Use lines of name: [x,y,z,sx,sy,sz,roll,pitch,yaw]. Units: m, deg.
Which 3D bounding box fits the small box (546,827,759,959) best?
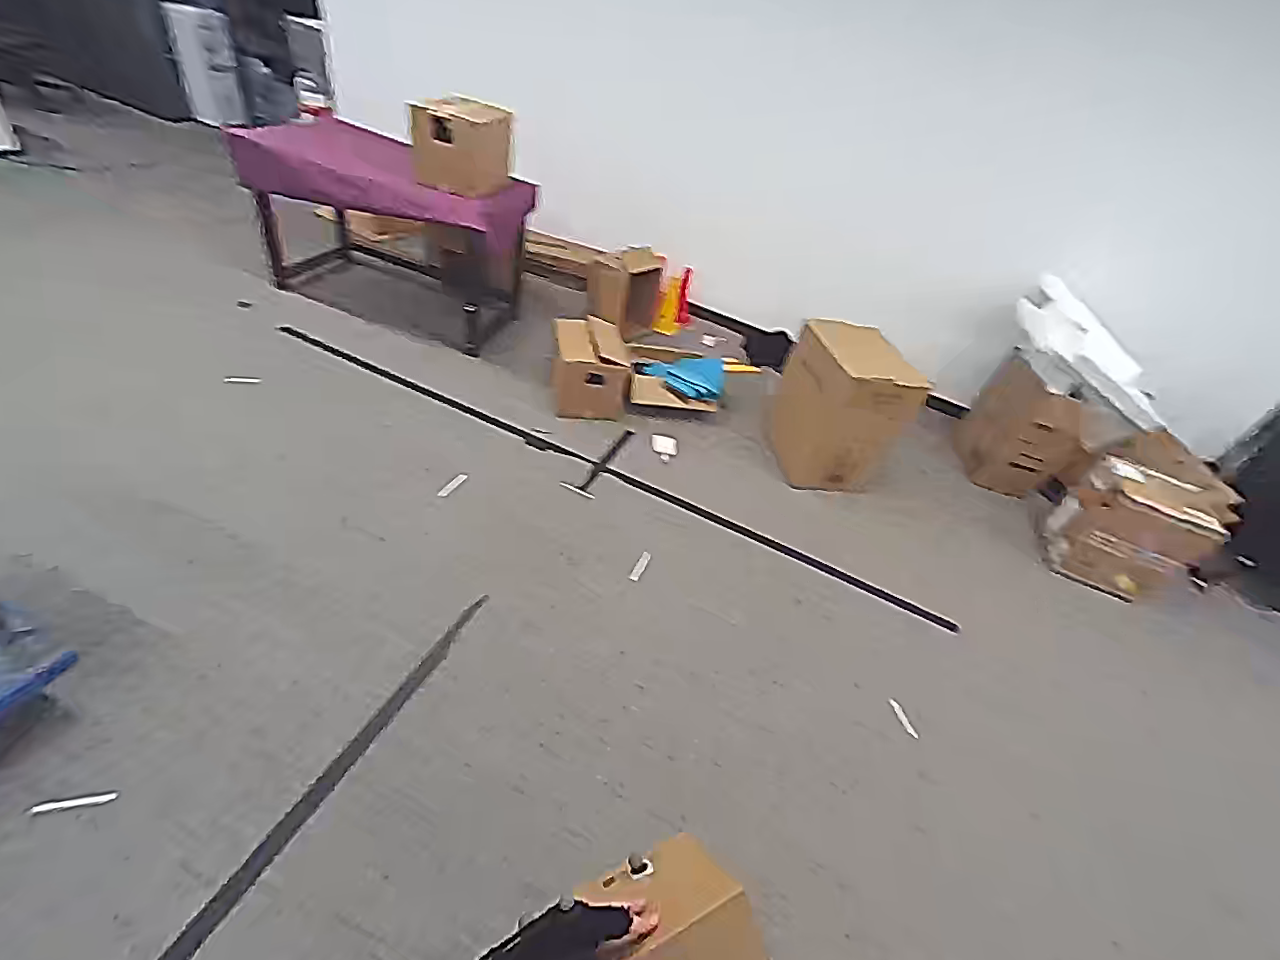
small box: [0.018,0.488,0.529,0.168,0.176,0.179,-19,80,-21]
